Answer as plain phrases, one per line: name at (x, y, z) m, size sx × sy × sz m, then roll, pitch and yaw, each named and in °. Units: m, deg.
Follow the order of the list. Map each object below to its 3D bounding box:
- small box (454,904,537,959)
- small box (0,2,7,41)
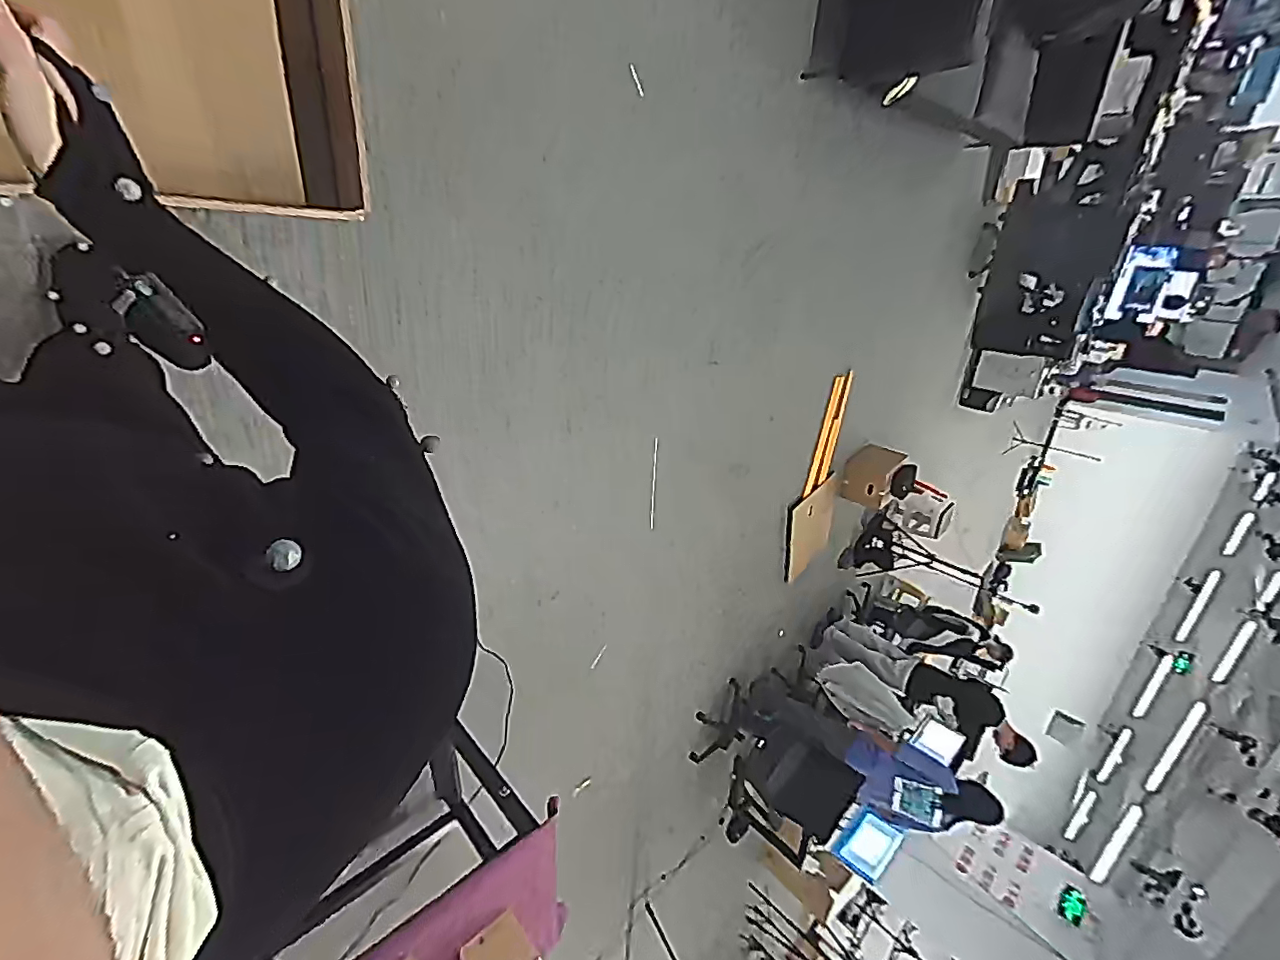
small box at (-0.407, 1.360, 1.521) m, size 0.168 × 0.176 × 0.179 m, roll -20°, pitch 123°, yaw -42°
small box at (-0.525, -0.401, 0.319) m, size 0.168 × 0.176 × 0.179 m, roll -15°, pitch 121°, yaw -41°
